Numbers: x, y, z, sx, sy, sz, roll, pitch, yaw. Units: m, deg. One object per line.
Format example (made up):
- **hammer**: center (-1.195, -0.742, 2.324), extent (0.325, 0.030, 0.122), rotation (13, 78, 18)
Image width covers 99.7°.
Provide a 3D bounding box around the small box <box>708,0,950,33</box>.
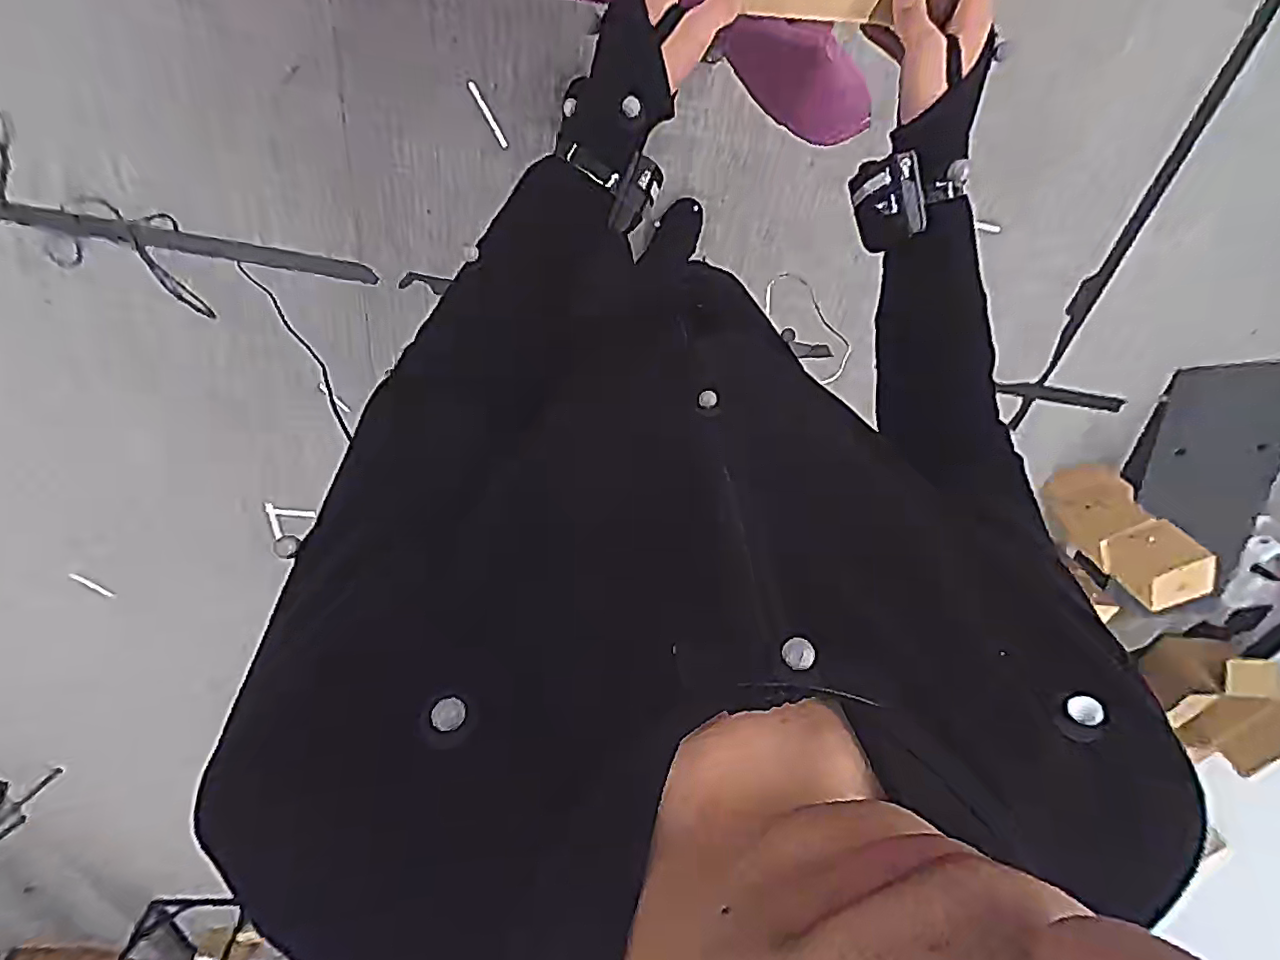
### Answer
- **small box**: center (0.145, -0.455, 0.395), extent (0.179, 0.176, 0.168), rotation (4, 137, -2)
